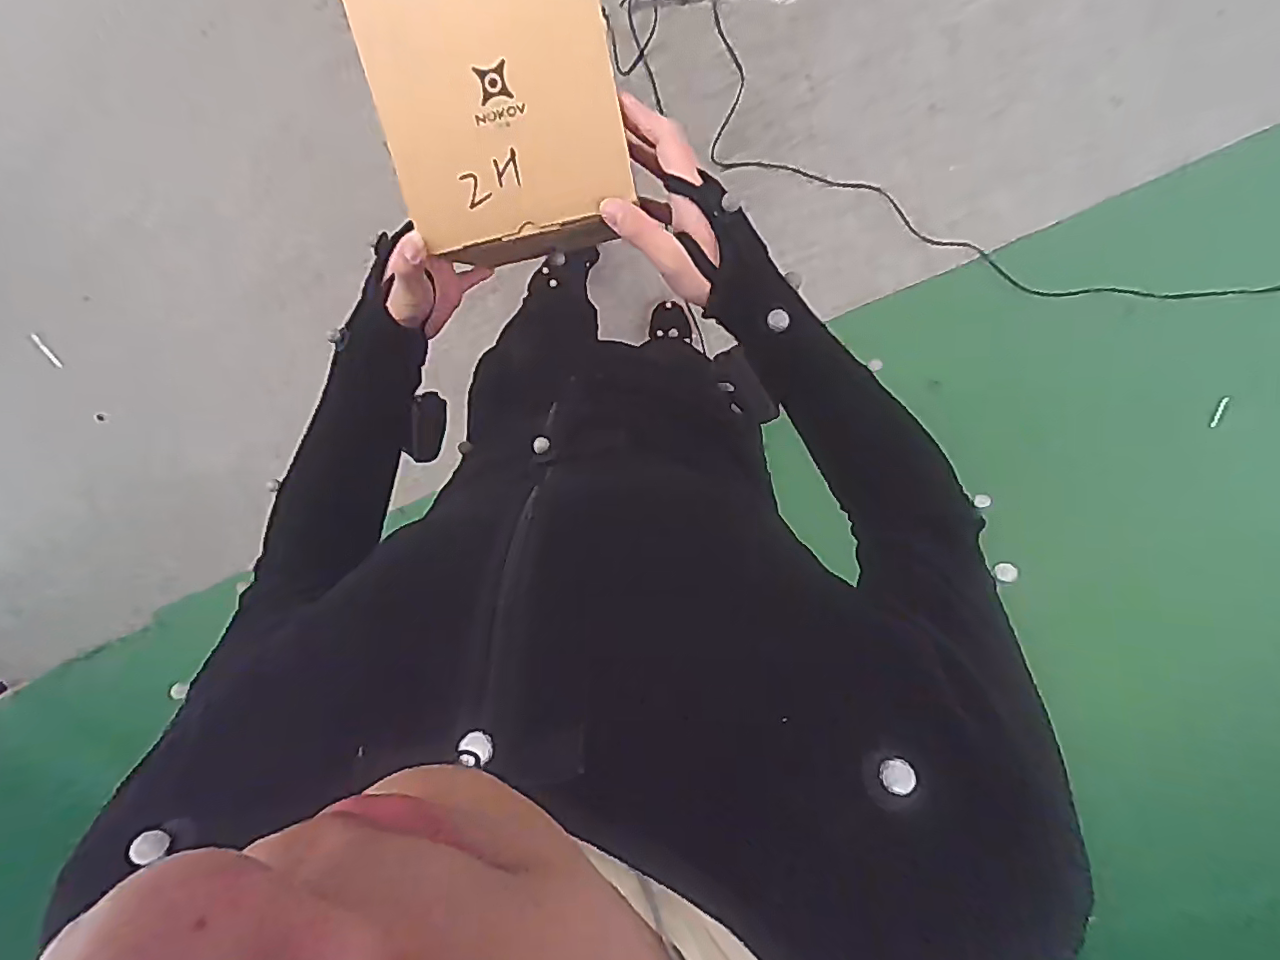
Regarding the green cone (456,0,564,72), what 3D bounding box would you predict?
[{"bbox_3d":[-0.297,-0.972,1.033,0.202,0.368,0.200,-21,113,11],"label":"green cone"}]
